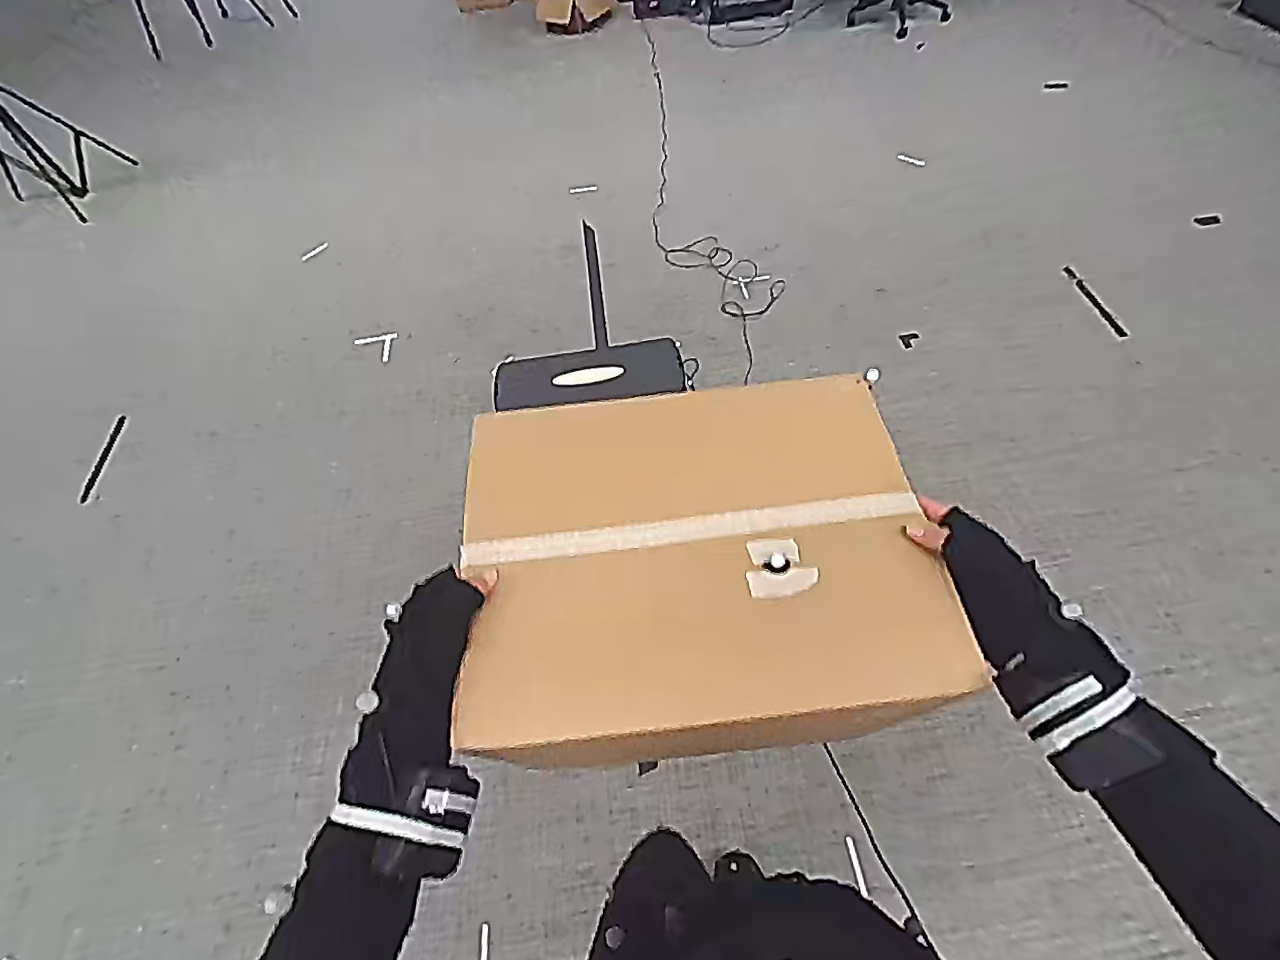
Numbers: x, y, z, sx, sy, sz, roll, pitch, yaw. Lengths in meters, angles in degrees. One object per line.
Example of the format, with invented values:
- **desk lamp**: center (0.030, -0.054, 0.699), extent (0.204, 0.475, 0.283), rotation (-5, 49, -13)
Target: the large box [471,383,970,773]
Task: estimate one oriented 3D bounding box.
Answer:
- **large box**: center (0.054, 0.127, 0.622), extent (0.408, 0.320, 0.320), rotation (-7, 58, -1)
